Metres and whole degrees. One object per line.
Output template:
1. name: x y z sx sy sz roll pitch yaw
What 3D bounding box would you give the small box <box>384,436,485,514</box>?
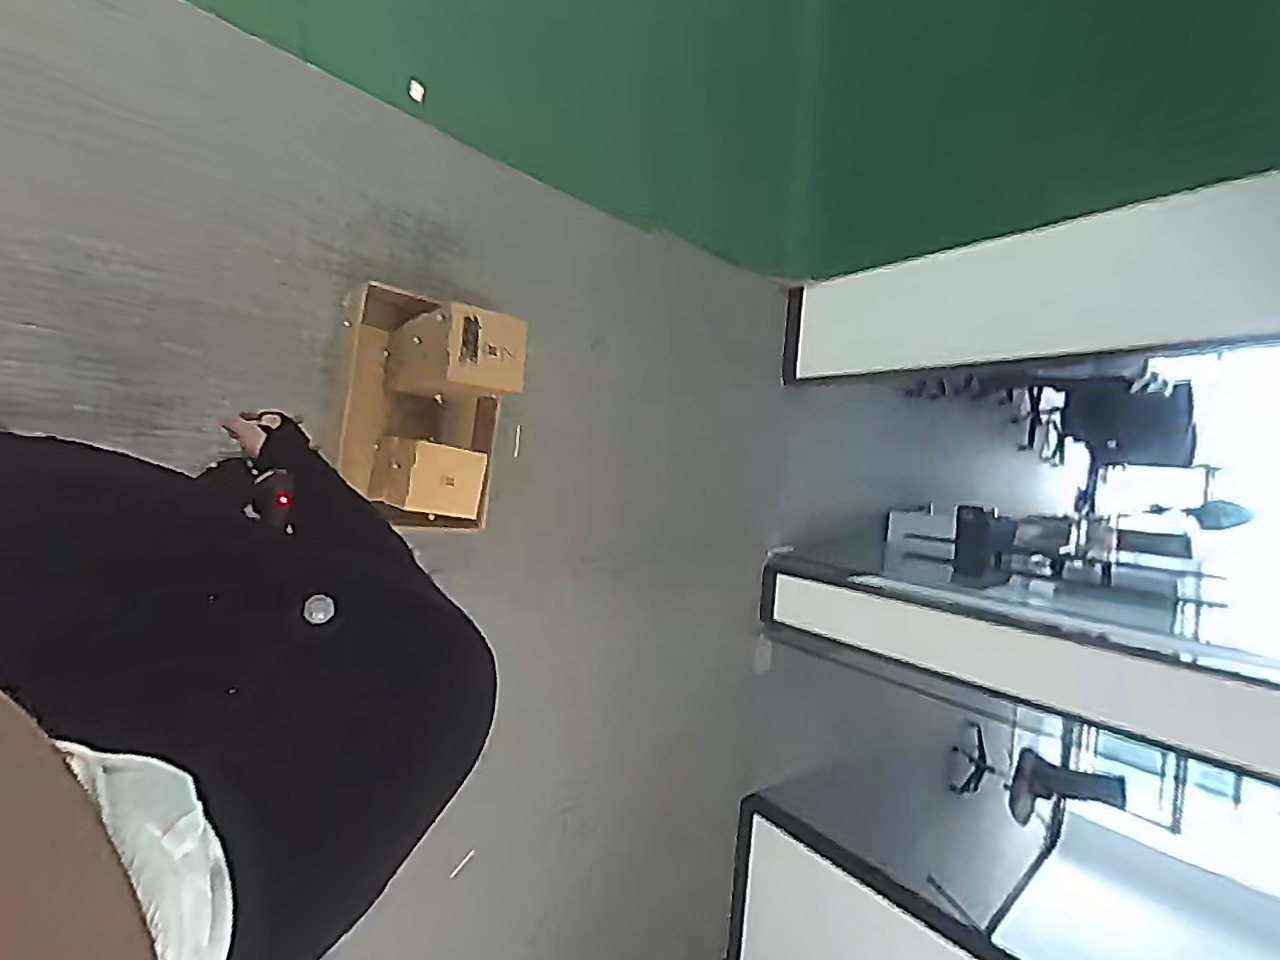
1. small box: -0.522 -0.015 1.366 0.179 0.176 0.168 13 87 -39

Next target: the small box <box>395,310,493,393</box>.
1. small box: -0.492 -0.313 1.359 0.179 0.176 0.168 4 90 -41
